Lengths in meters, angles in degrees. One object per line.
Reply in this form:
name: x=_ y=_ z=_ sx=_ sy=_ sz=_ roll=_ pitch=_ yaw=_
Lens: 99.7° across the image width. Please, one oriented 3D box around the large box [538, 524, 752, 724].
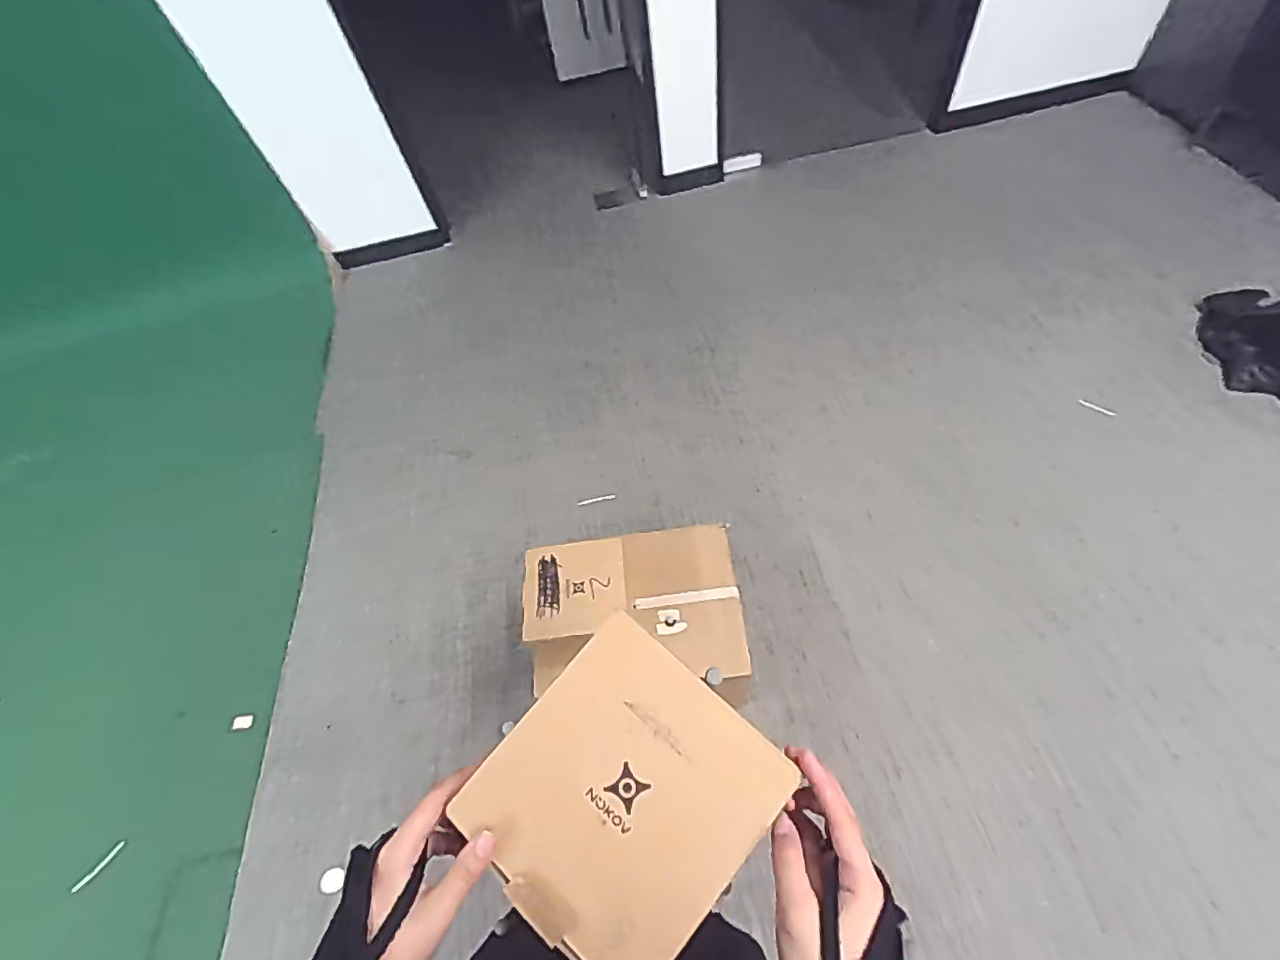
large box: x=0.008 y=0.326 z=1.184 sx=0.408 sy=0.320 sz=0.320 roll=-7 pitch=58 yaw=2
